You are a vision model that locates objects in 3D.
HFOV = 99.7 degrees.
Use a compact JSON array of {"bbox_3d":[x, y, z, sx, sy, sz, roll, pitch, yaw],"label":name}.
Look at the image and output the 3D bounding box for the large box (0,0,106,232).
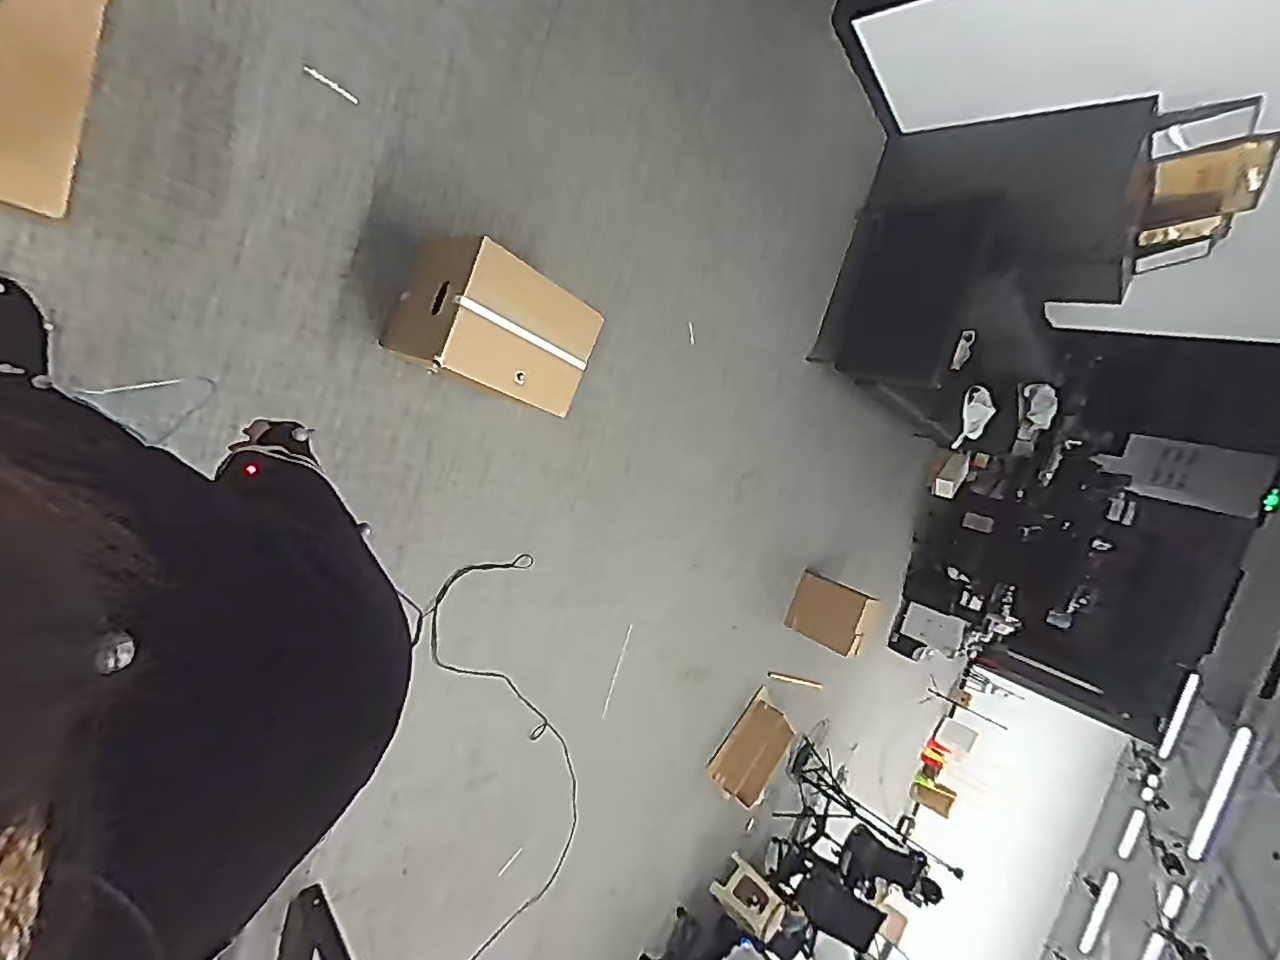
[{"bbox_3d":[-0.981,-0.612,0.746,0.320,0.320,0.408,11,97,-48],"label":"large box"}]
